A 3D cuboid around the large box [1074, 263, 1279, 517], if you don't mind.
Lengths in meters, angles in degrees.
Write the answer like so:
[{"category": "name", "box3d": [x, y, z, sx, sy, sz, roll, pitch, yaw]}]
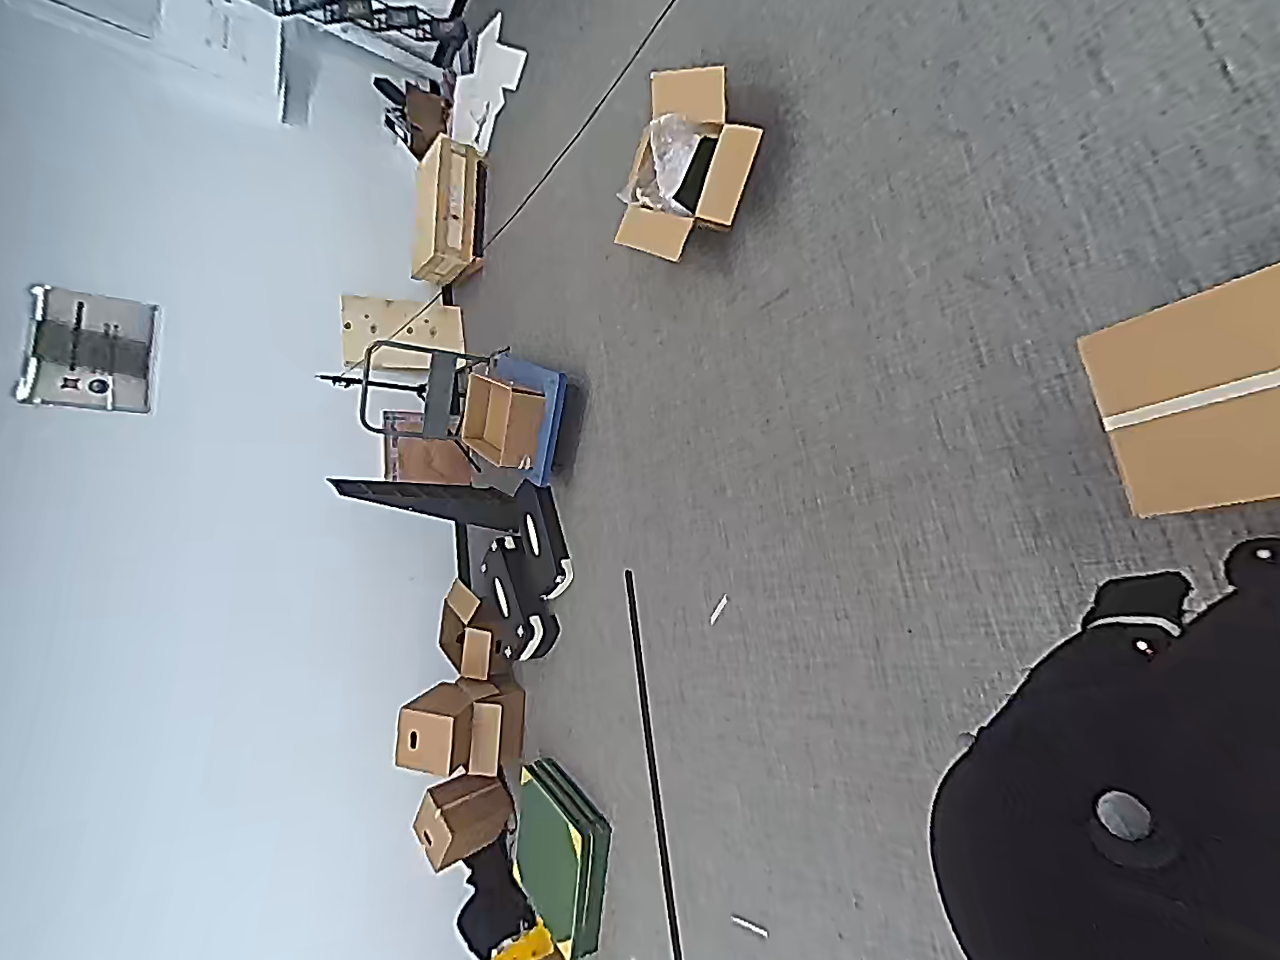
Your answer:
[{"category": "large box", "box3d": [0.993, -0.134, 0.829, 0.408, 0.320, 0.320, -24, 70, 50]}]
